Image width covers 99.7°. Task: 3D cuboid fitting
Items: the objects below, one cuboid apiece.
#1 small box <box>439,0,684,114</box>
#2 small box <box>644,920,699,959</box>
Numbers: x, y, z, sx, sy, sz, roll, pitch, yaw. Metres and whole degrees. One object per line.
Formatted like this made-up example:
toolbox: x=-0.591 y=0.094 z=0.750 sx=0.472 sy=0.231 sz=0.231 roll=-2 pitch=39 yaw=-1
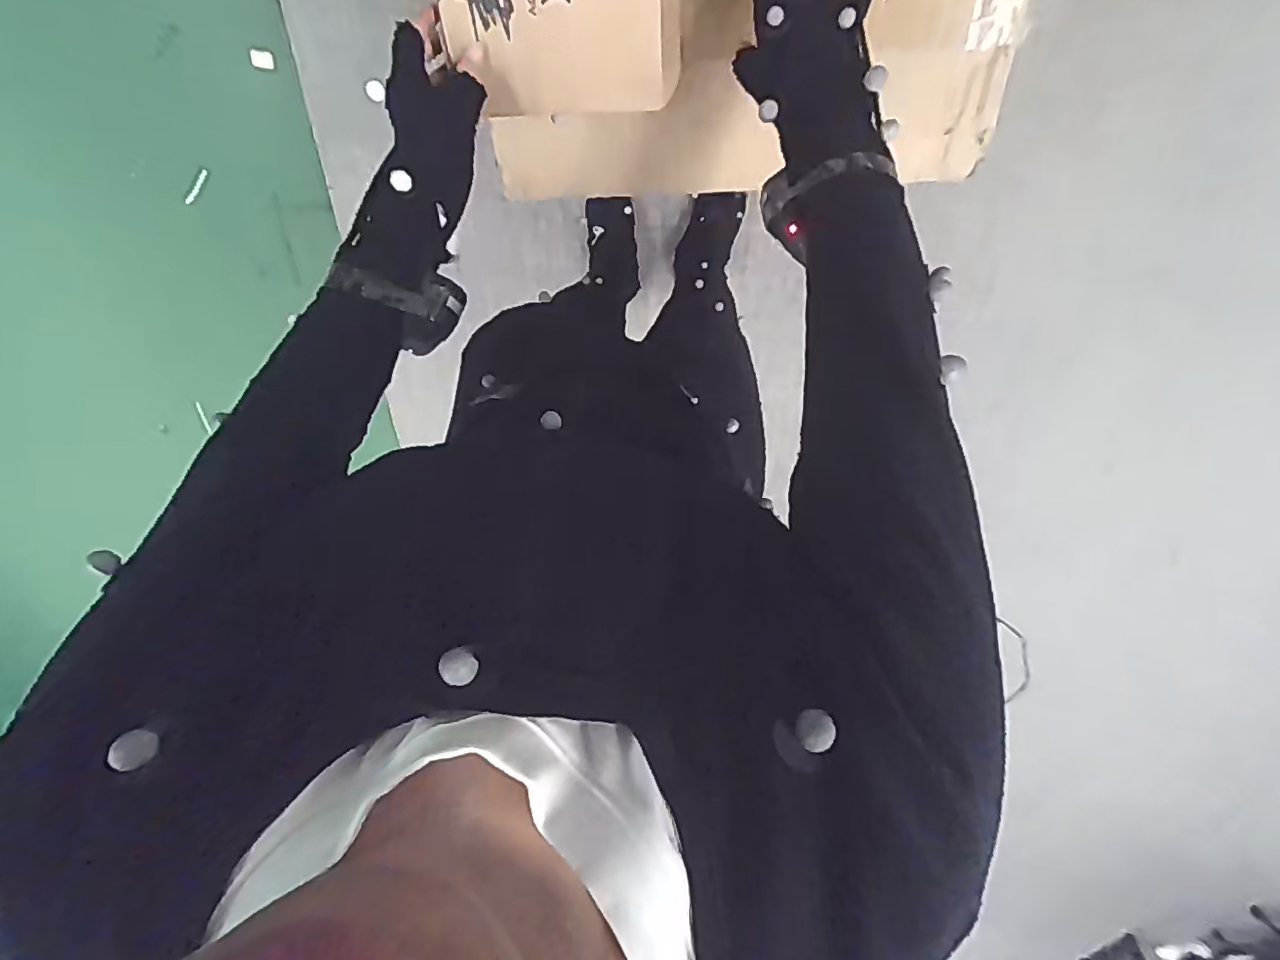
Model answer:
small box: x=-0.057 y=-0.418 z=0.451 sx=0.179 sy=0.176 sz=0.168 roll=3 pitch=134 yaw=7
small box: x=0.112 y=1.673 z=1.892 sx=0.179 sy=0.176 sz=0.168 roll=-2 pitch=126 yaw=13
